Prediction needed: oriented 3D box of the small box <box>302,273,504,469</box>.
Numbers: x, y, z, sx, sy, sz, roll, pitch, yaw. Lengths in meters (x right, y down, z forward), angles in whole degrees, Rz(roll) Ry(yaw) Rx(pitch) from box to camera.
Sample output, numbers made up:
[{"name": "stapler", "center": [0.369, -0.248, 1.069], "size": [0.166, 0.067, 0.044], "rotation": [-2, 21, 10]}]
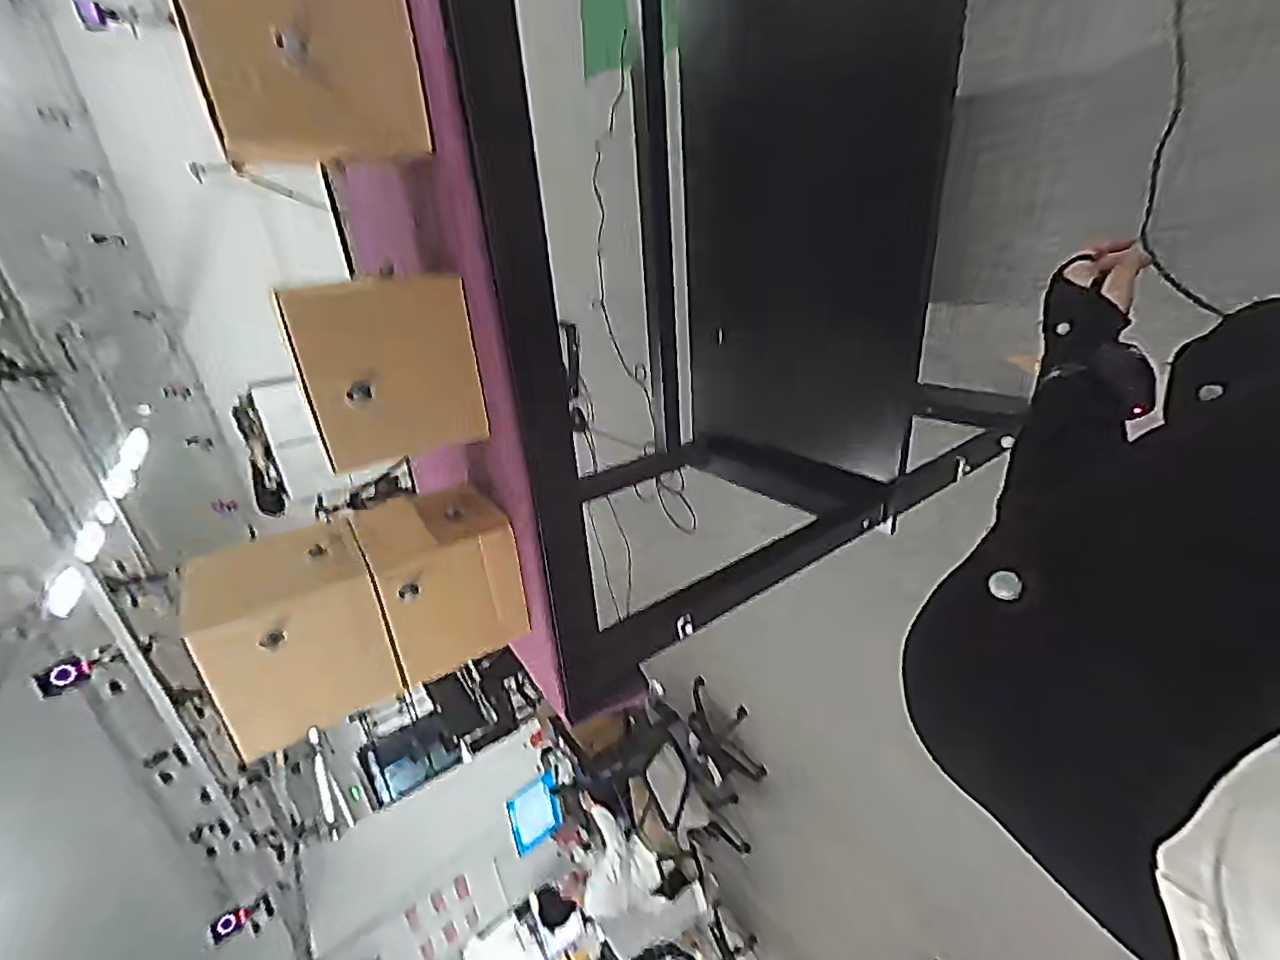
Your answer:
[{"name": "small box", "center": [-0.269, -0.137, 0.629], "size": [0.168, 0.176, 0.179], "rotation": [31, 131, 50]}]

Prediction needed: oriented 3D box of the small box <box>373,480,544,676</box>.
[{"name": "small box", "center": [-0.242, 0.122, 0.738], "size": [0.168, 0.176, 0.179], "rotation": [29, 130, 51]}]

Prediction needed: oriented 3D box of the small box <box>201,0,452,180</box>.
[{"name": "small box", "center": [-0.294, -0.395, 0.514], "size": [0.168, 0.176, 0.179], "rotation": [30, 133, 49]}]
